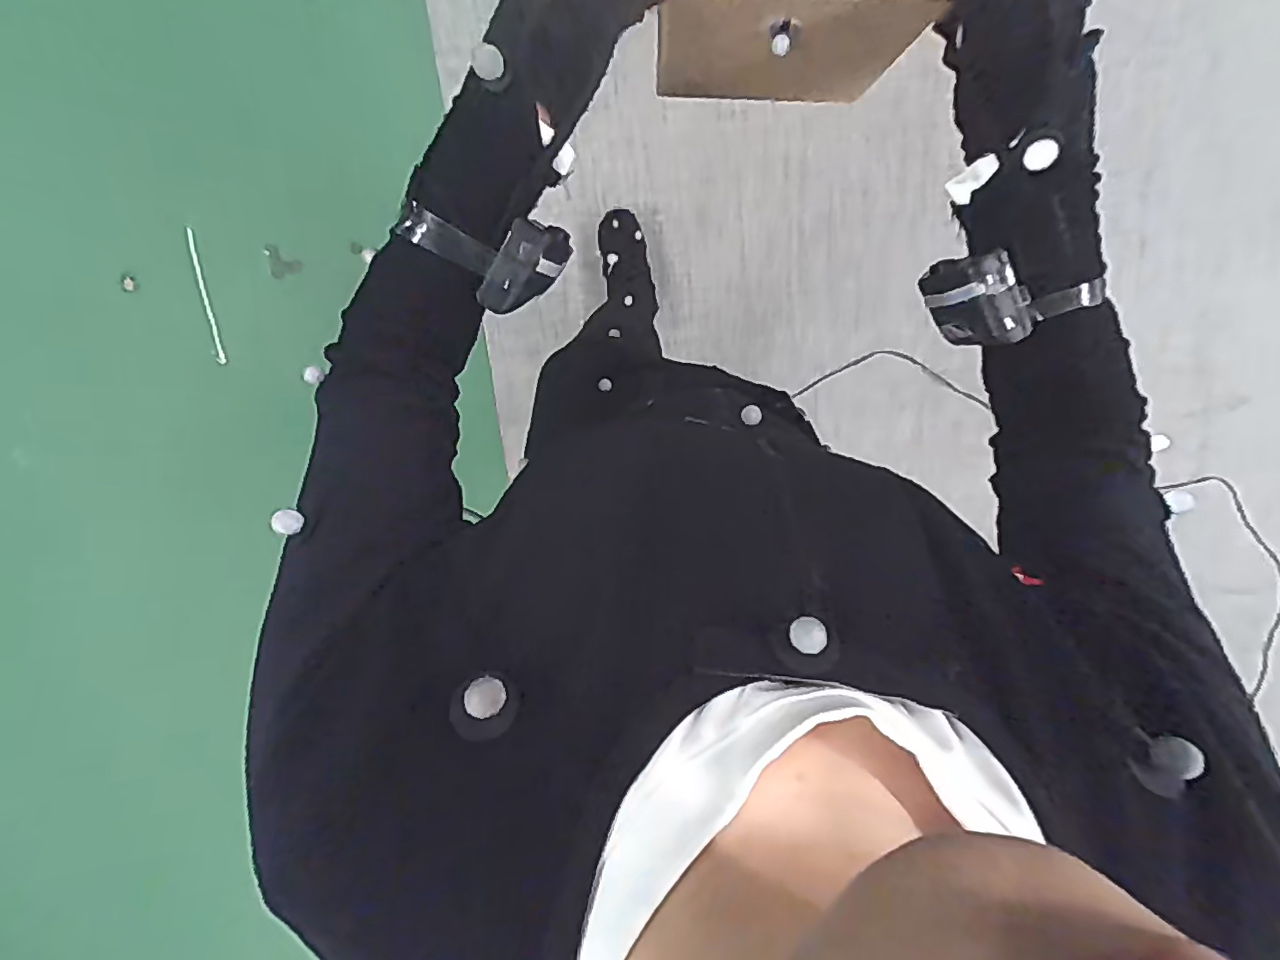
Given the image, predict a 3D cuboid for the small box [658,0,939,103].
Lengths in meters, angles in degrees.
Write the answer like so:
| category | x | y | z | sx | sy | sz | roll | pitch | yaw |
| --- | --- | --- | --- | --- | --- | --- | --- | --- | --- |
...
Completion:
| category | x | y | z | sx | sy | sz | roll | pitch | yaw |
| --- | --- | --- | --- | --- | --- | --- | --- | --- | --- |
| small box | 0.103 | -0.389 | 0.378 | 0.179 | 0.176 | 0.168 | 1 | 107 | 0 |
